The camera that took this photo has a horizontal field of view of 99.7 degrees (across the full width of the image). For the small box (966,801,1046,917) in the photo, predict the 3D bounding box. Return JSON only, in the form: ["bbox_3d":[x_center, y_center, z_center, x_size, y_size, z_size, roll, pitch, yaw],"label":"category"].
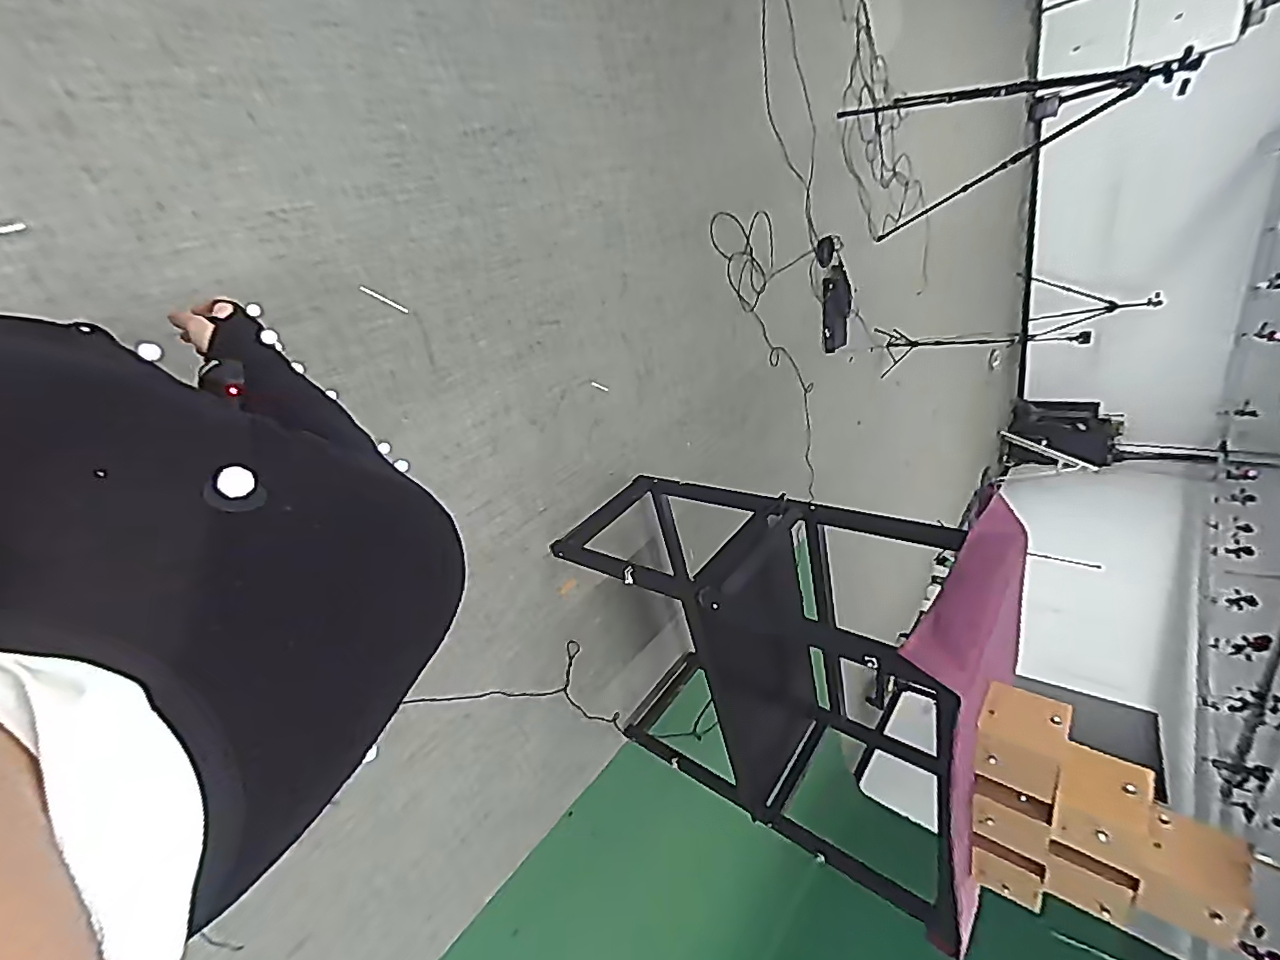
[{"bbox_3d":[1.055,1.082,1.556,0.179,0.176,0.168,-34,122,-40],"label":"small box"}]

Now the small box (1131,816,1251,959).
[{"bbox_3d":[1.229,0.901,1.217,0.168,0.176,0.179,-38,123,-37],"label":"small box"}]

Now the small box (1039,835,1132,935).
[{"bbox_3d":[1.139,0.987,1.381,0.168,0.176,0.179,-37,123,-38],"label":"small box"}]

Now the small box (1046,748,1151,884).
[{"bbox_3d":[1.079,0.783,1.278,0.179,0.176,0.168,-36,122,-38],"label":"small box"}]

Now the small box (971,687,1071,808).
[{"bbox_3d":[0.930,0.648,1.330,0.168,0.176,0.179,-37,124,-37],"label":"small box"}]
